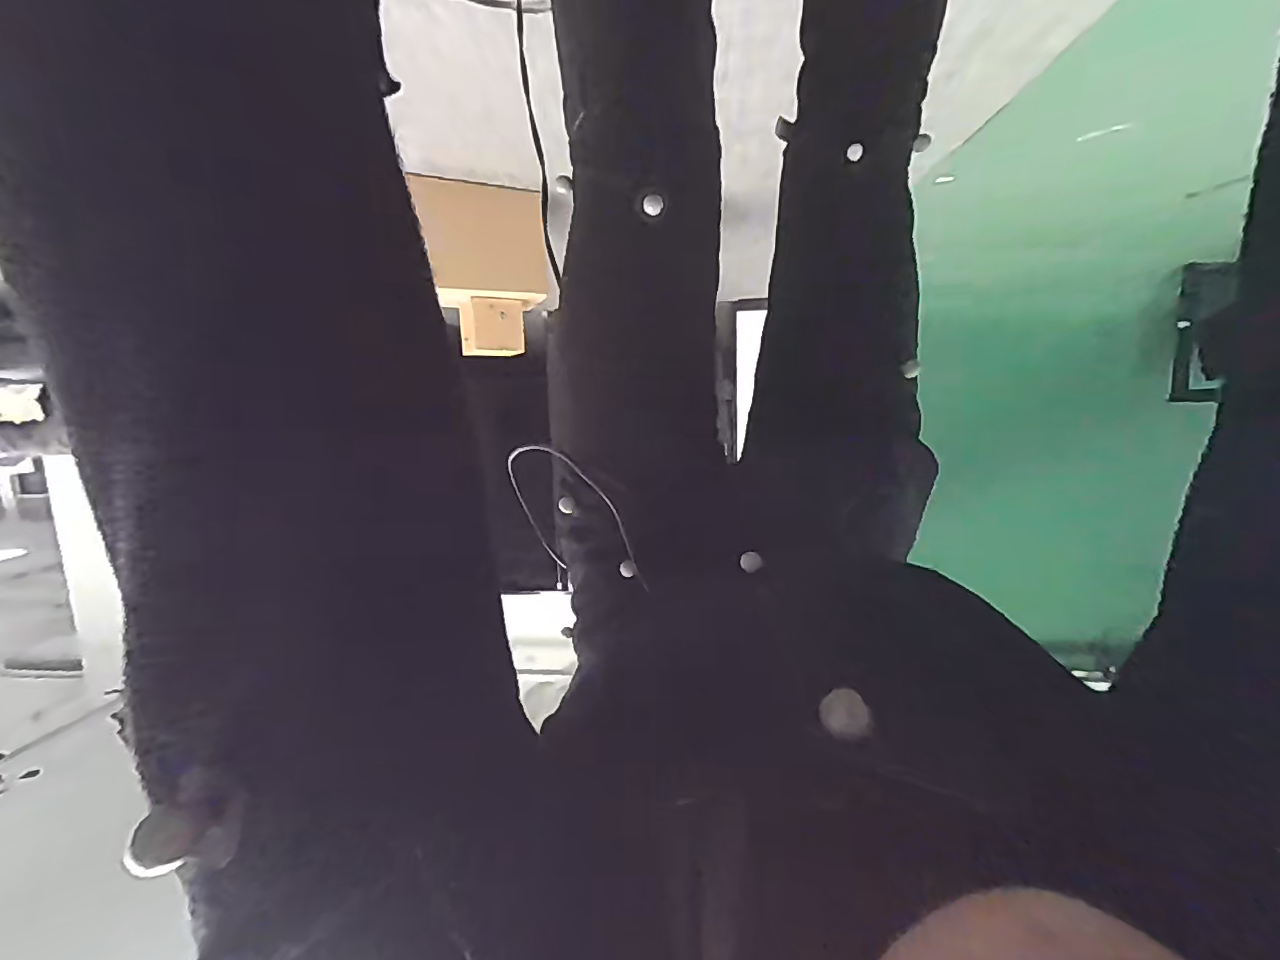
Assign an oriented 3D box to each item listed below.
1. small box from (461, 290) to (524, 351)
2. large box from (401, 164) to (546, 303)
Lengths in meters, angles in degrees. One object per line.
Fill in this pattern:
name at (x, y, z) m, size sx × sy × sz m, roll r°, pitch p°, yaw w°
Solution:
small box at (-0.491, -0.523, 1.788) m, size 0.168 × 0.176 × 0.179 m, roll -6°, pitch -169°, yaw -29°
large box at (-0.533, -0.759, 1.726) m, size 0.408 × 0.320 × 0.320 m, roll -4°, pitch -172°, yaw -25°
